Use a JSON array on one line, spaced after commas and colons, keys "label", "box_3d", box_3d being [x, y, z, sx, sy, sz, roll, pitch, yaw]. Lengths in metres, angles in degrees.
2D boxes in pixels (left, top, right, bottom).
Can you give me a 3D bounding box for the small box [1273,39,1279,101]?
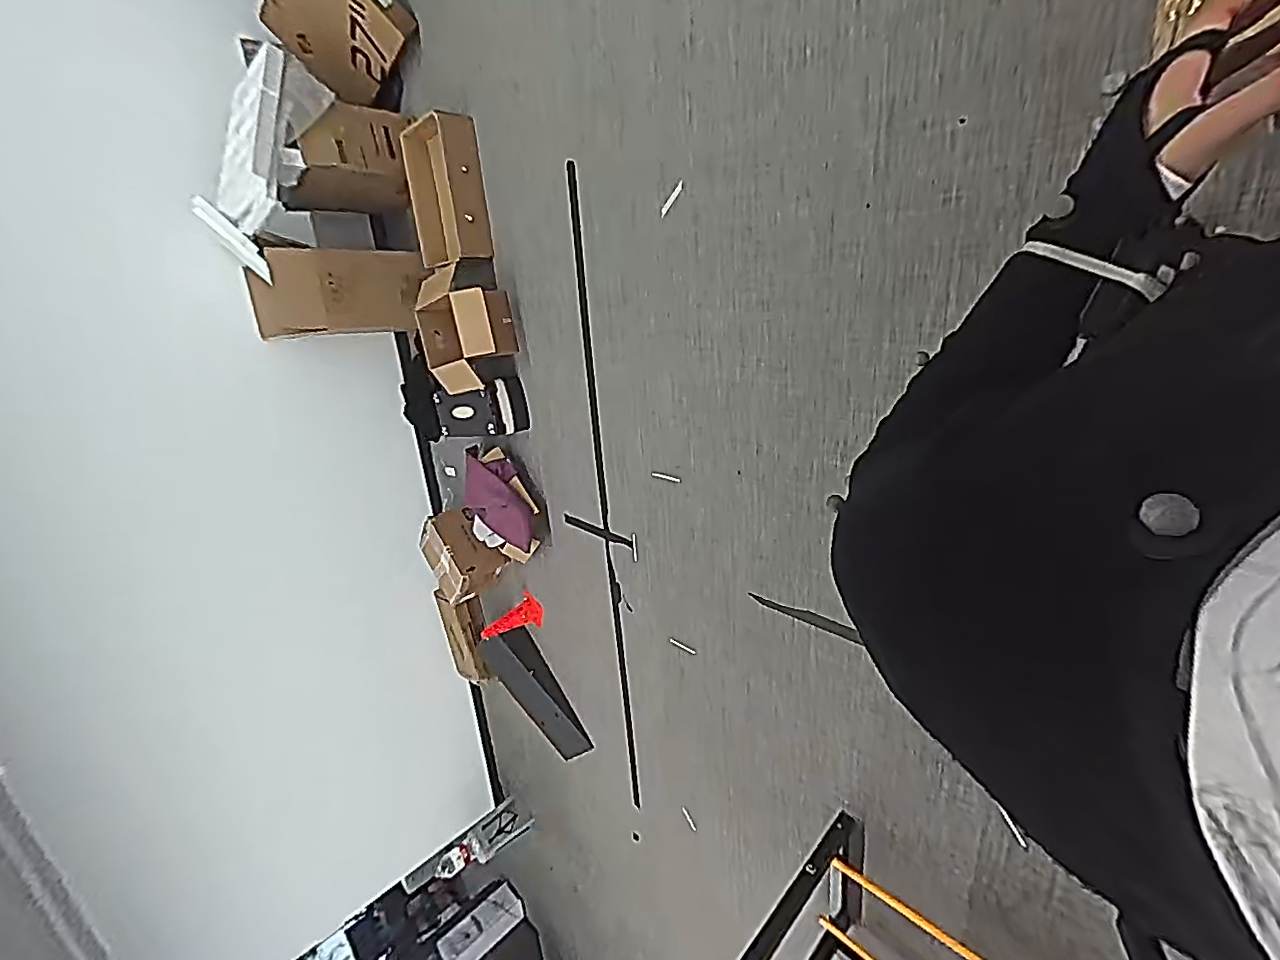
[{"label": "small box", "box_3d": [0.470, -0.319, 0.281, 0.168, 0.176, 0.179, 11, 116, 47]}]
